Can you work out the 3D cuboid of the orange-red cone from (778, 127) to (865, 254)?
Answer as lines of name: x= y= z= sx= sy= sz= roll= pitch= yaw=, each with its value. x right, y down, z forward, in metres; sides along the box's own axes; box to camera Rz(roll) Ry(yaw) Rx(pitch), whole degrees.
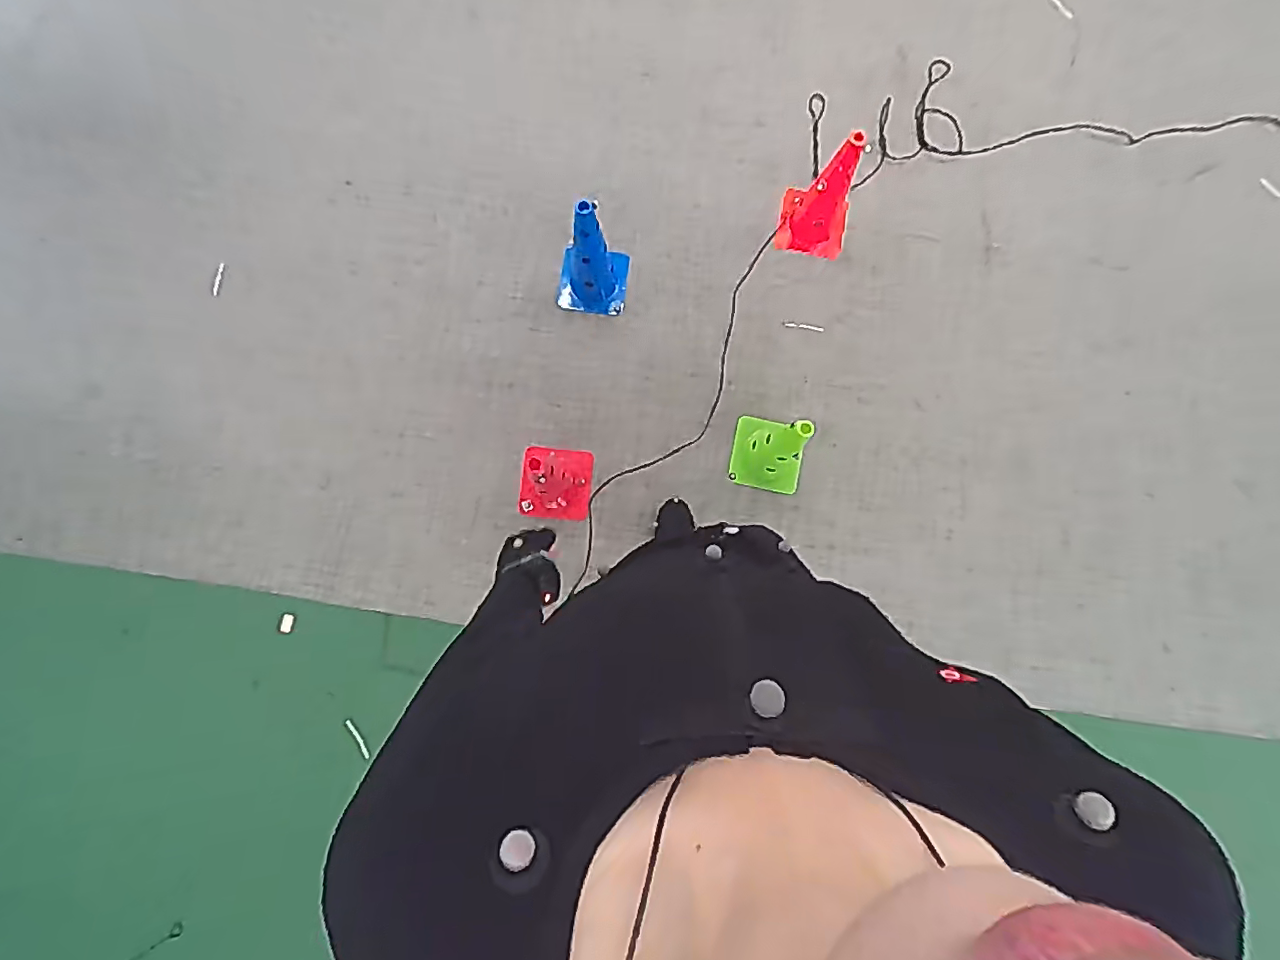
orange-red cone: x=0.526 y=-0.807 z=1.468 sx=0.198 sy=0.360 sz=0.199 roll=13 pitch=85 yaw=2

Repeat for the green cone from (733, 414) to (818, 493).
green cone: x=0.377 y=-0.097 z=1.376 sx=0.200 sy=0.368 sz=0.202 roll=11 pitch=82 yaw=1
